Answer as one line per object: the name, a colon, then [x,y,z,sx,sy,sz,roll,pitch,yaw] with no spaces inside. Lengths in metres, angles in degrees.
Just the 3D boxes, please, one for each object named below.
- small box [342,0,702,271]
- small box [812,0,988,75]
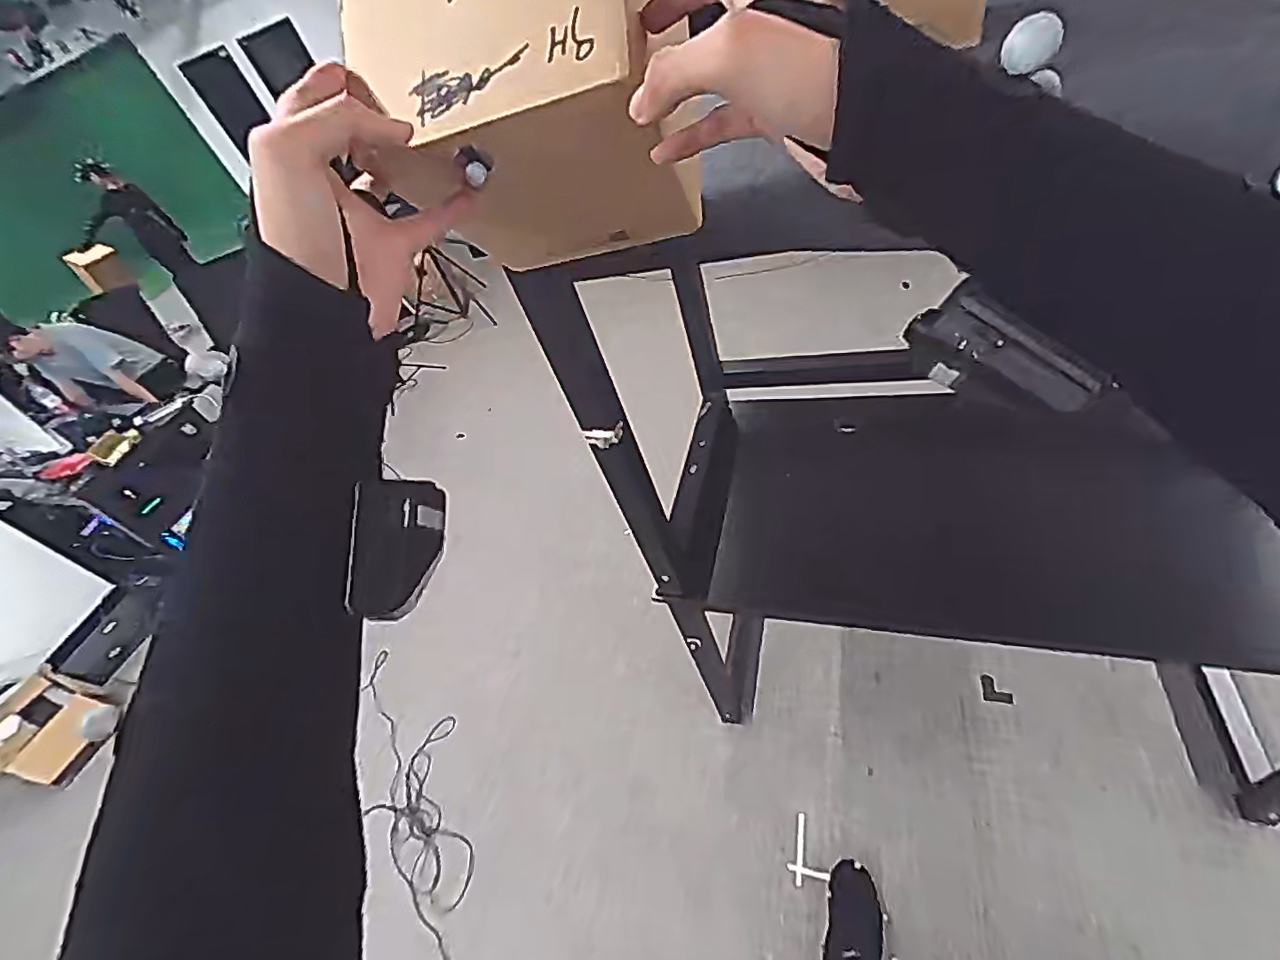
small box: [-0.059,-0.261,0.348,0.168,0.176,0.179,-4,90,18]
small box: [0.275,-0.558,0.569,0.168,0.176,0.179,4,51,23]
